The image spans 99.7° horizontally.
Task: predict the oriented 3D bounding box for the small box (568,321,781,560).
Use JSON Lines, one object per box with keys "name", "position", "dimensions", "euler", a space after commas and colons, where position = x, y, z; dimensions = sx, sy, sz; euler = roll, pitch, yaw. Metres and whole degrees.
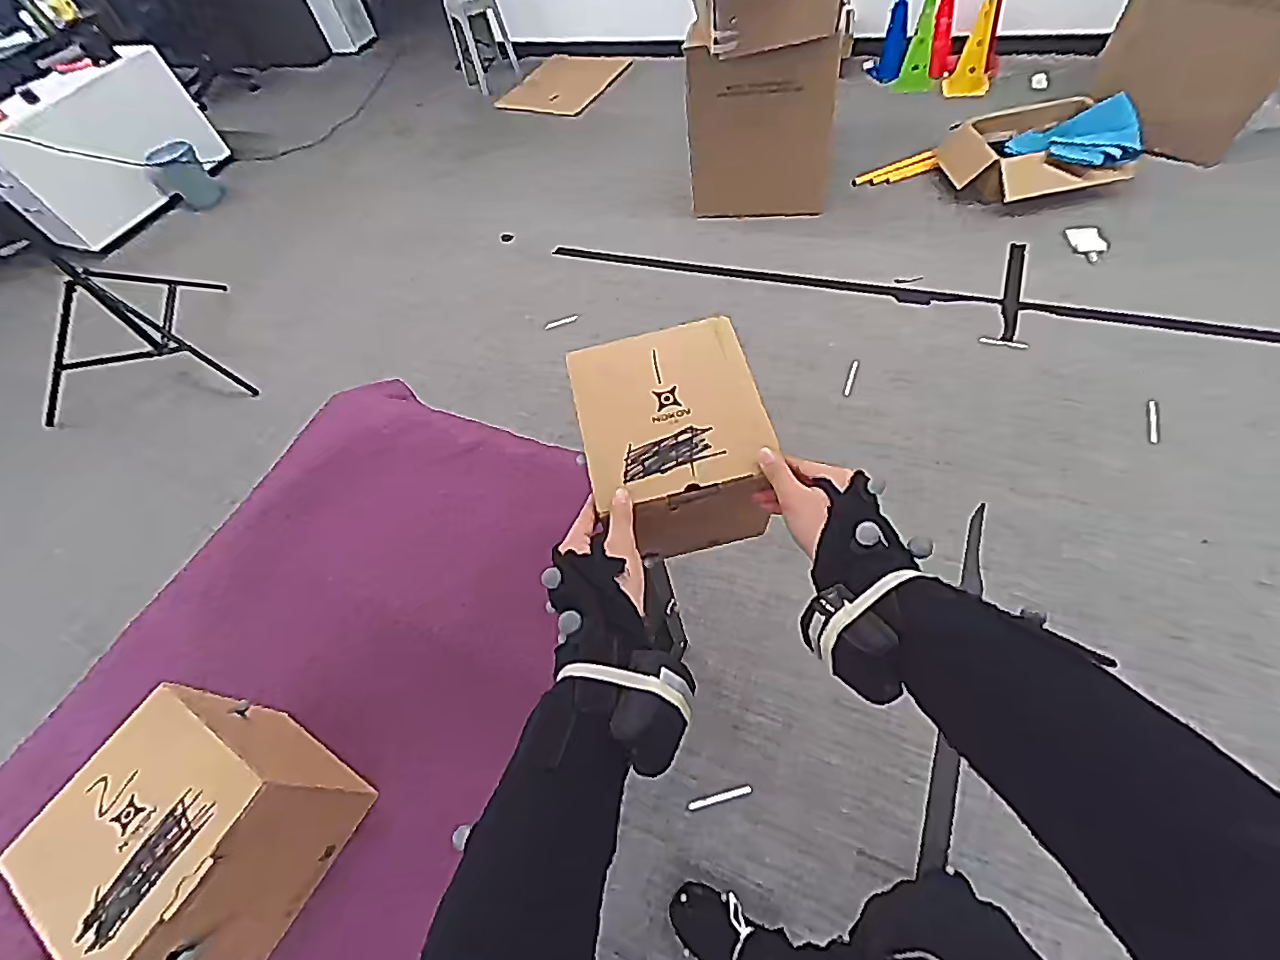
{"name": "small box", "position": [0.034, -0.028, 0.564], "dimensions": [0.168, 0.176, 0.179], "euler": [-14, 63, -1]}
